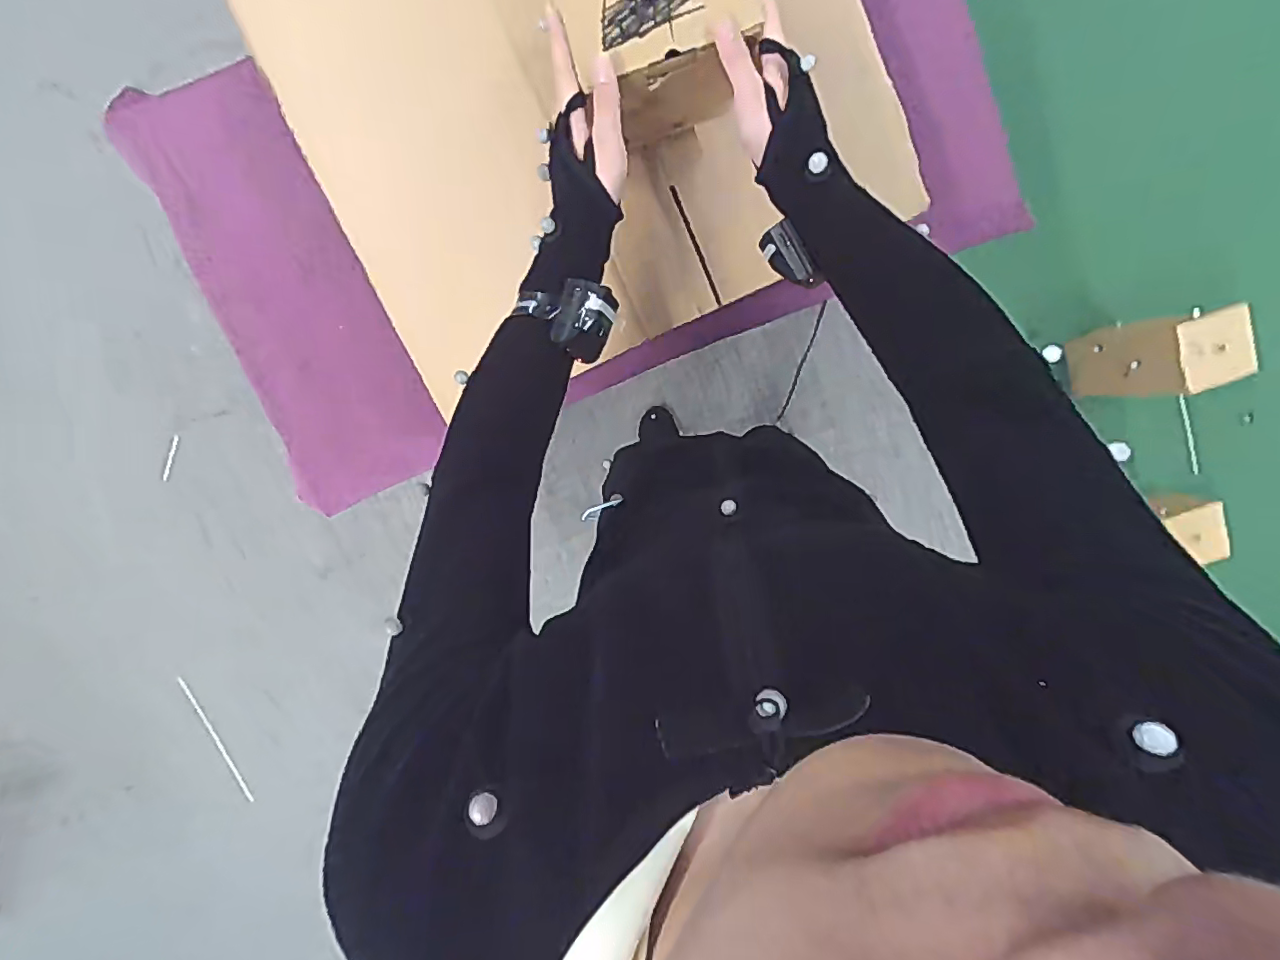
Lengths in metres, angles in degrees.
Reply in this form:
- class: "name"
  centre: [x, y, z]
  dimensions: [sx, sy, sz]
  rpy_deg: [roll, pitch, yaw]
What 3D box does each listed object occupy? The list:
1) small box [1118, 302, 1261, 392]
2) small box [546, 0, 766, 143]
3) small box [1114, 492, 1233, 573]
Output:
- class: "small box"
  centre: [1.351, -0.322, 1.337]
  dimensions: [0.179, 0.176, 0.168]
  rpy_deg: [-19, 98, 2]
- class: "small box"
  centre: [0.001, -0.449, 0.506]
  dimensions: [0.168, 0.176, 0.179]
  rpy_deg: [-18, 102, 2]
- class: "small box"
  centre: [1.553, 0.146, 1.581]
  dimensions: [0.179, 0.176, 0.168]
  rpy_deg: [-19, 99, 3]
